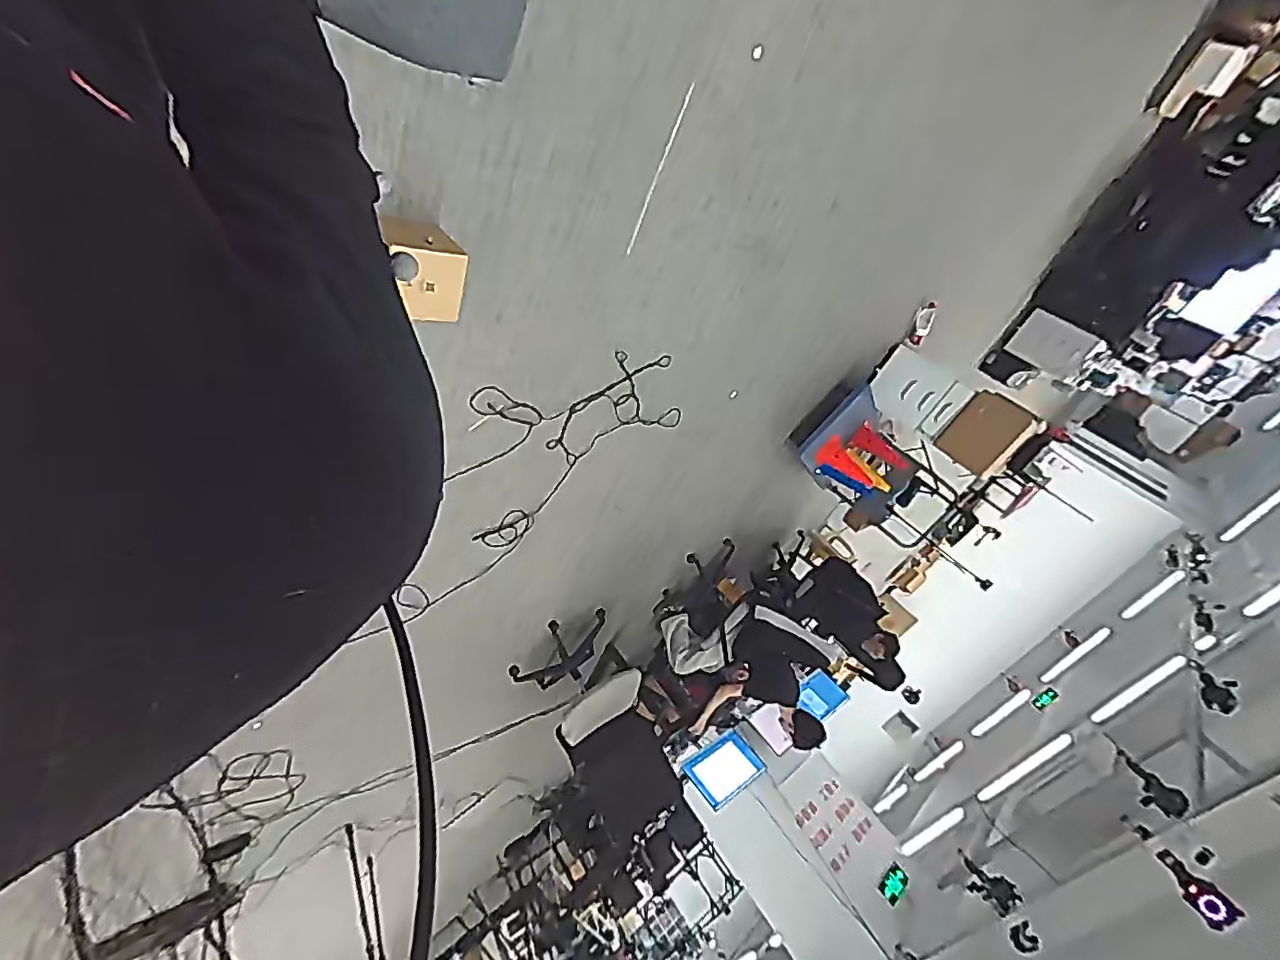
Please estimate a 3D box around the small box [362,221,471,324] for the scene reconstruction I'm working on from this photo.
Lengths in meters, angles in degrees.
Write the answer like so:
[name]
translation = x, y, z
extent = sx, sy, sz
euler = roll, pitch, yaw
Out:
[small box]
translation = -0.524, -0.482, 1.261
extent = 0.179, 0.176, 0.168
euler = -11, 135, -42
